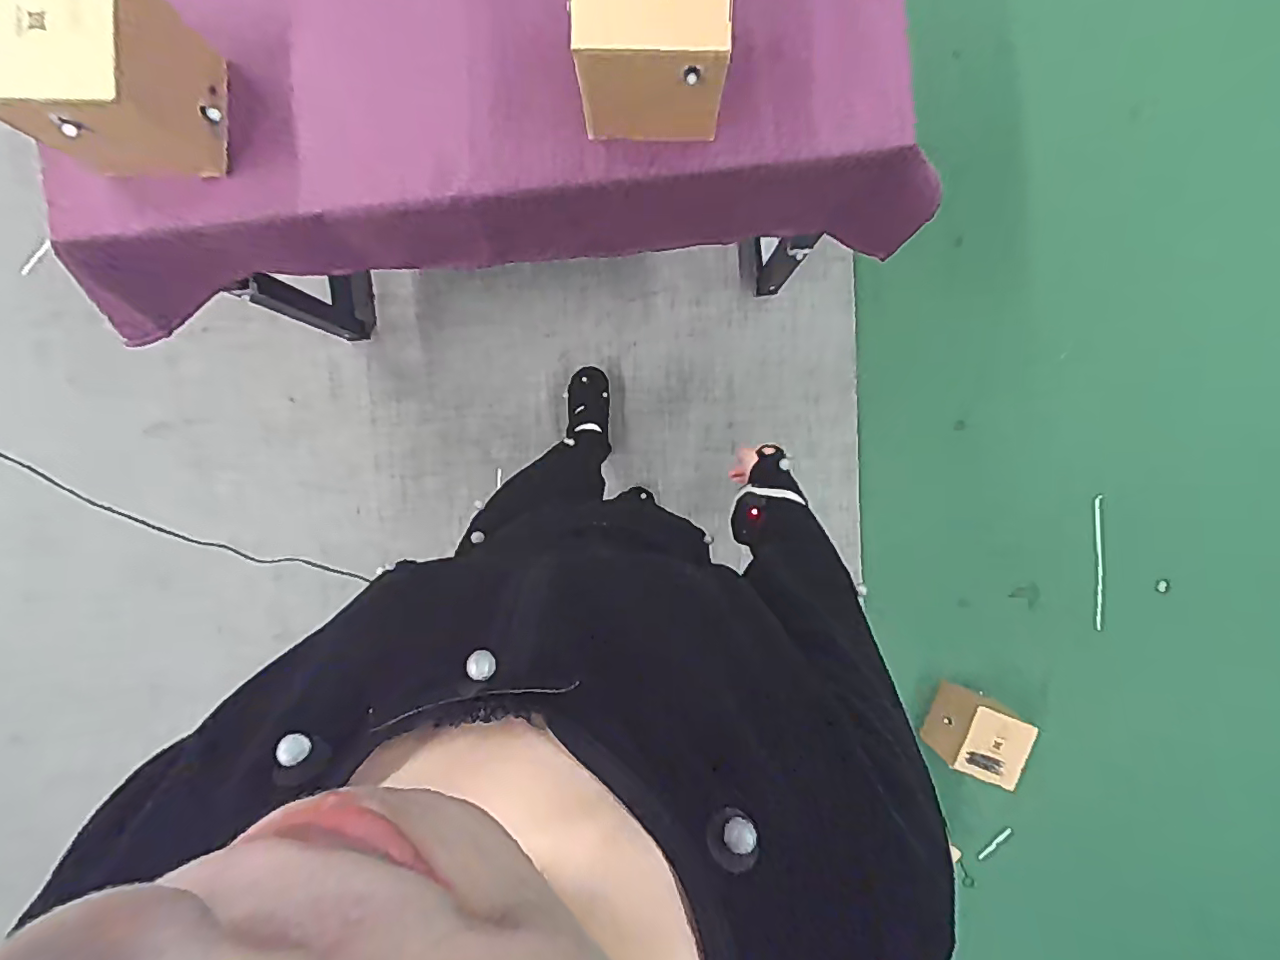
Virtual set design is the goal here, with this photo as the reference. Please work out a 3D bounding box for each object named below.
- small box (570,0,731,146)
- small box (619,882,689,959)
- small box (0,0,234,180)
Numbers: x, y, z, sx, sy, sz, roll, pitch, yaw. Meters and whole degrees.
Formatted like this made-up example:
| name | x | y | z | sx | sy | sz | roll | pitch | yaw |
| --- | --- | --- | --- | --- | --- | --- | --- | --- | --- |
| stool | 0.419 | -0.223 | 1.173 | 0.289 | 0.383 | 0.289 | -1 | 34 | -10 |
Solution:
| name | x | y | z | sx | sy | sz | roll | pitch | yaw |
| --- | --- | --- | --- | --- | --- | --- | --- | --- | --- |
| small box | 0.013 | -0.540 | 0.666 | 0.179 | 0.176 | 0.168 | 1 | 92 | 0 |
| small box | 0.040 | 1.227 | 1.456 | 0.179 | 0.176 | 0.168 | -5 | 93 | 1 |
| small box | -0.650 | -0.494 | 0.667 | 0.179 | 0.176 | 0.168 | 2 | 92 | -1 |
